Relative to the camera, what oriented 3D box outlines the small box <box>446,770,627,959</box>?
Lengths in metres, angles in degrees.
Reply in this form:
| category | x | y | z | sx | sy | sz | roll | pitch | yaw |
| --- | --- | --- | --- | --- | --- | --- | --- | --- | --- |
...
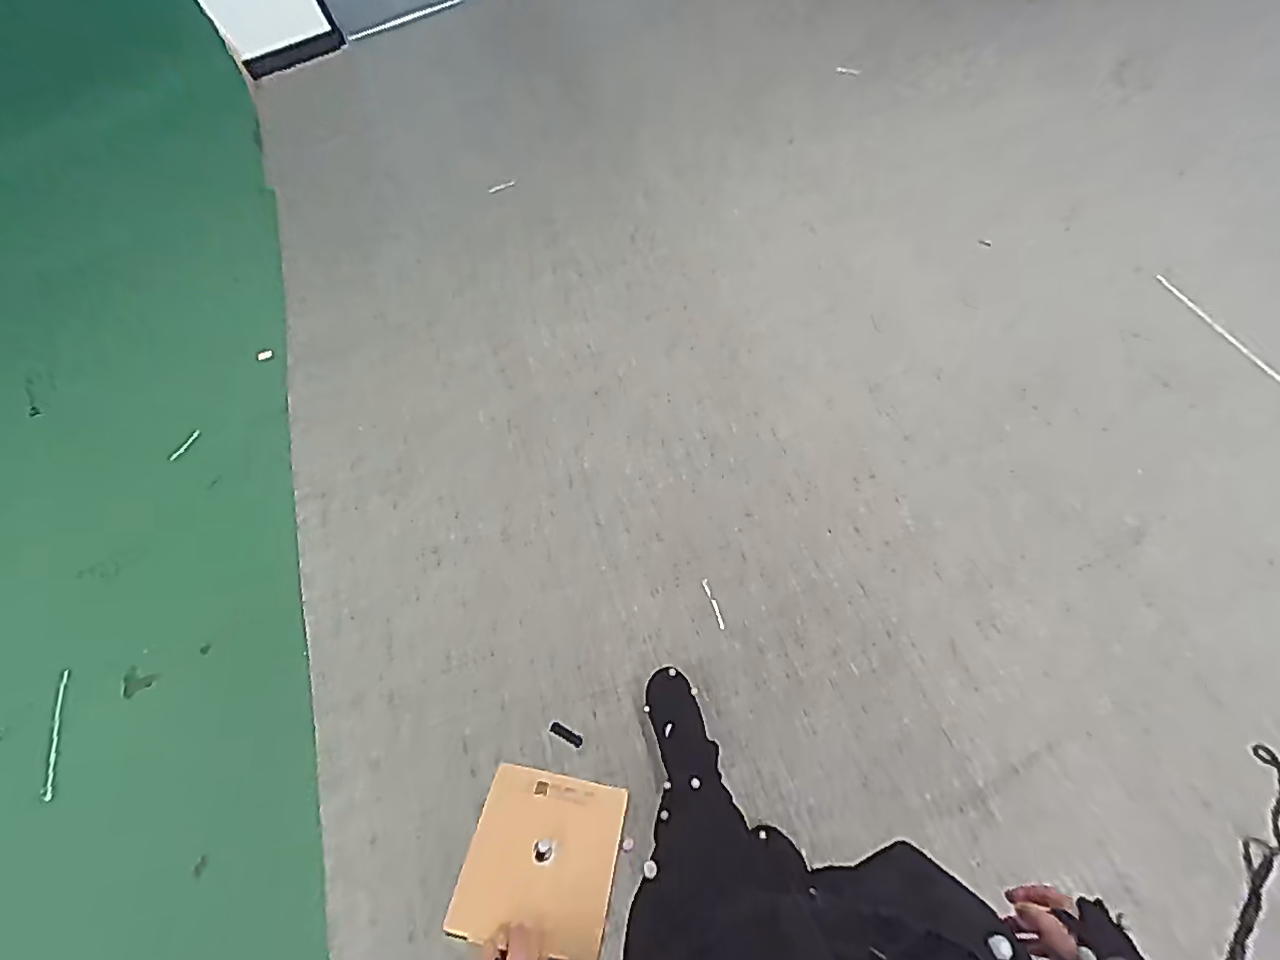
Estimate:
| category | x | y | z | sx | sy | sz | roll | pitch | yaw |
| --- | --- | --- | --- | --- | --- | --- | --- | --- | --- |
| small box | -0.113 | 0.479 | 0.661 | 0.168 | 0.179 | 0.176 | 10 | 44 | 5 |
